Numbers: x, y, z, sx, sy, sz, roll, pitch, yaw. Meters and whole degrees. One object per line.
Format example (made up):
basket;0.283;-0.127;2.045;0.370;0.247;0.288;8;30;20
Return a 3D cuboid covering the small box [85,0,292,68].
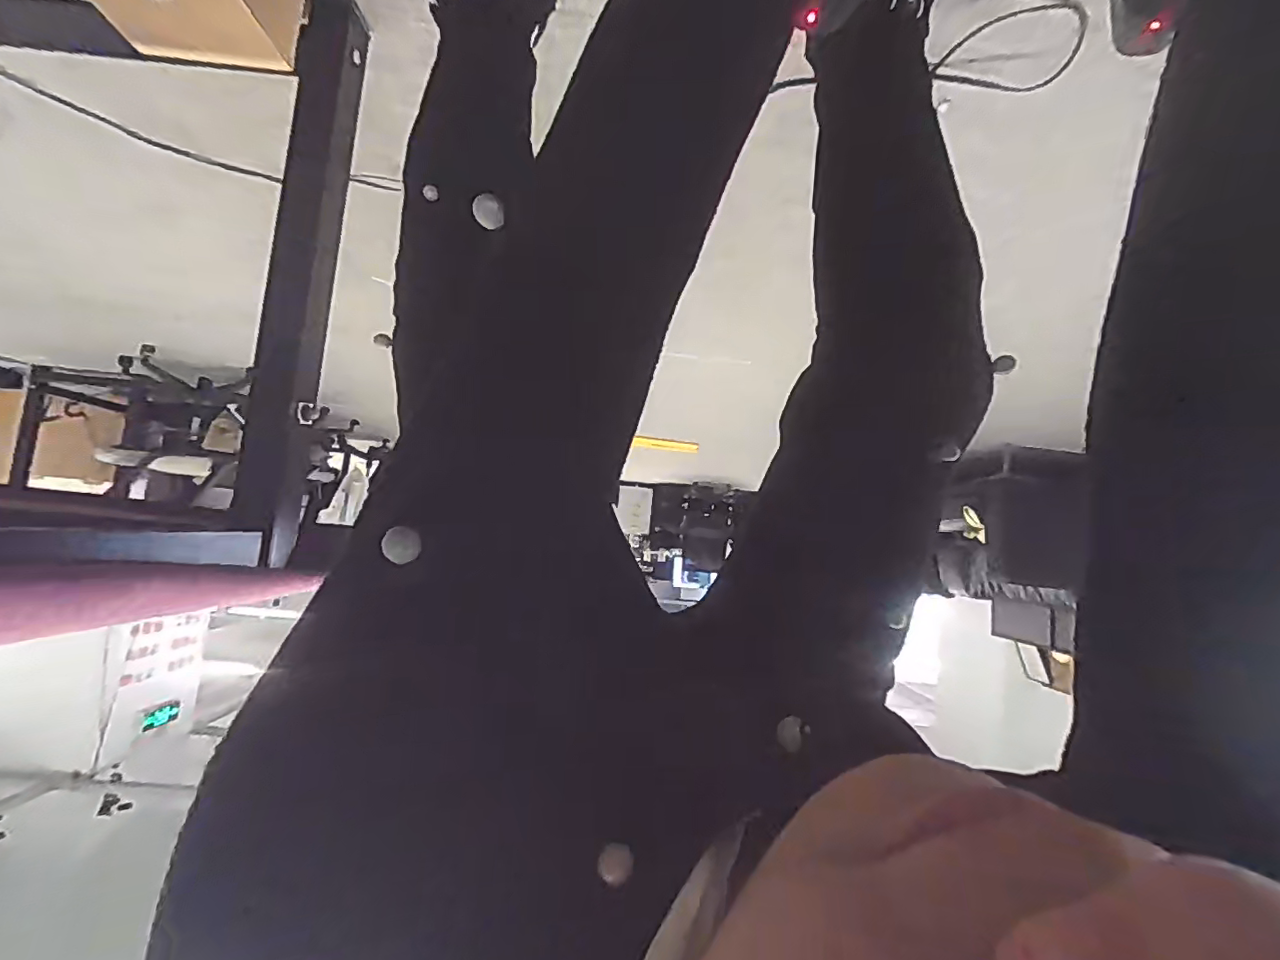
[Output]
small box;-0.450;-0.544;0.507;0.168;0.176;0.179;6;174;-1
